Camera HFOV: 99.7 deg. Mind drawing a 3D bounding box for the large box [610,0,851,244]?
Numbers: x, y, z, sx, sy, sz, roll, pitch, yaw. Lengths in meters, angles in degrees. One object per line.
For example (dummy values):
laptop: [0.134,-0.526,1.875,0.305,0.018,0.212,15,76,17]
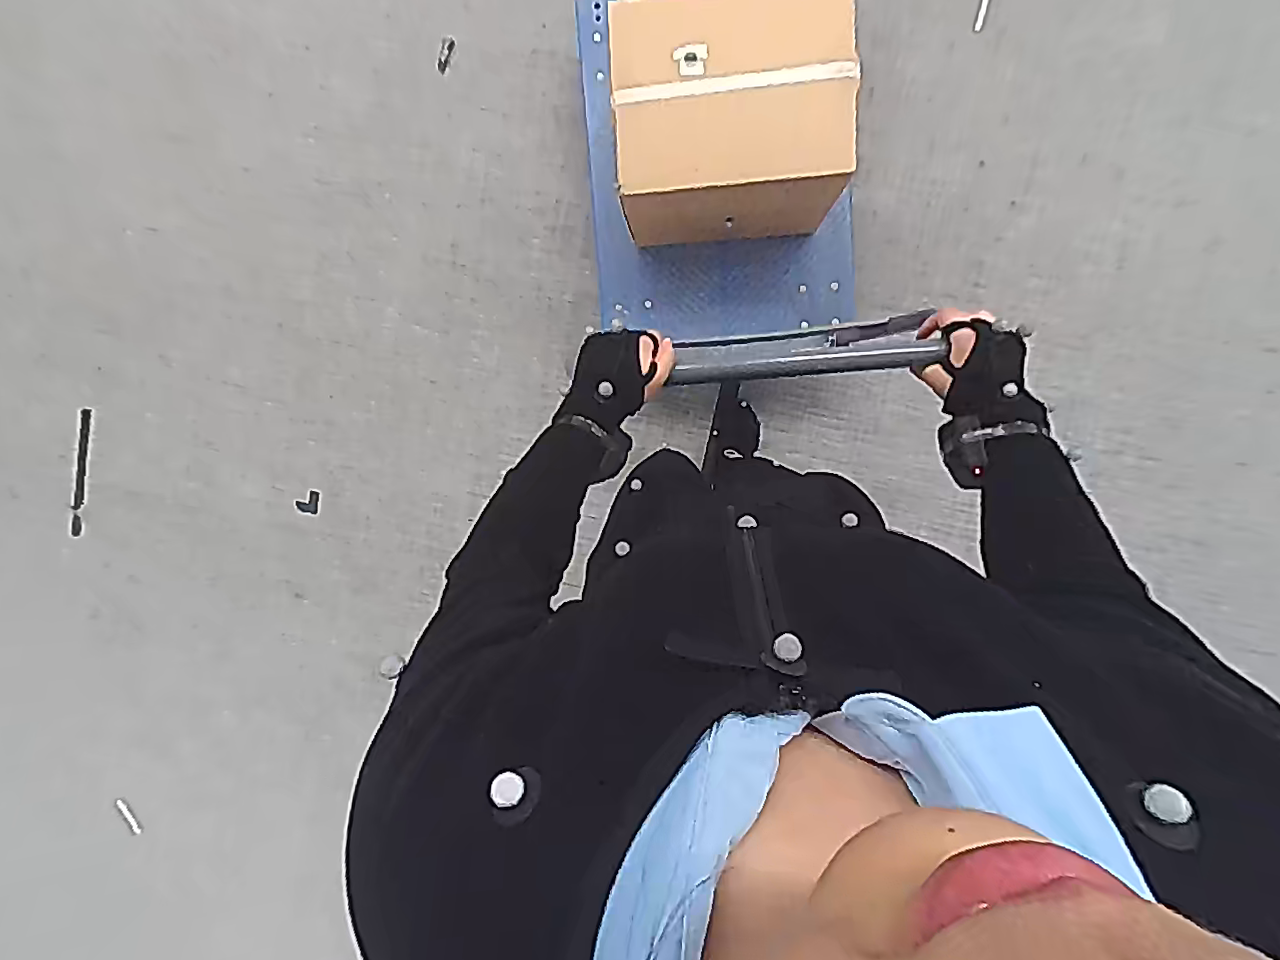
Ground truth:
large box: [0.172,-0.689,1.076,0.408,0.320,0.320,-3,96,7]
